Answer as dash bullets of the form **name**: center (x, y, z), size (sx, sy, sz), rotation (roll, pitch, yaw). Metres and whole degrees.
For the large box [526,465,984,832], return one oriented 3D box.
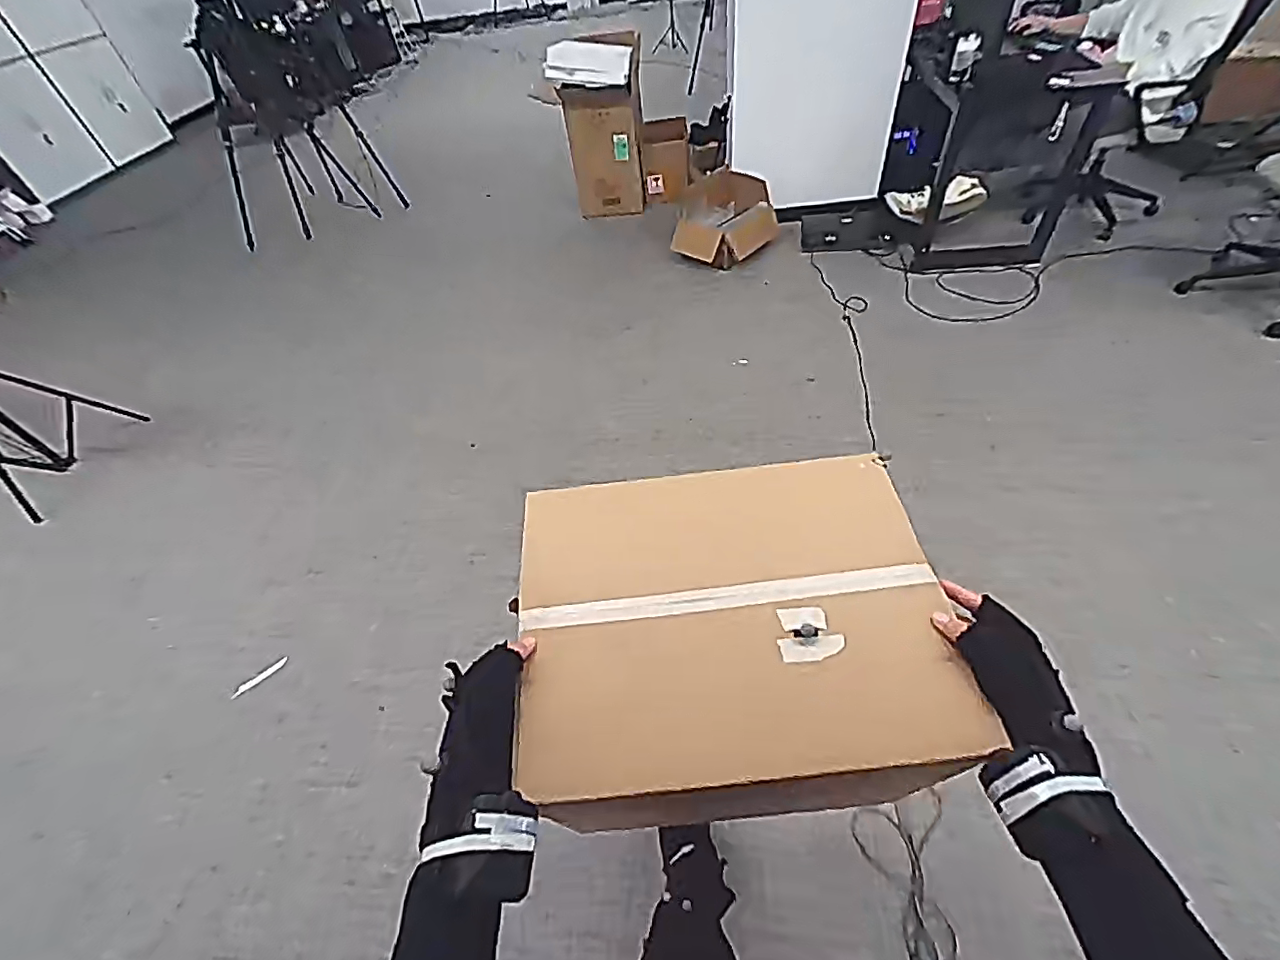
- **large box**: center (0.094, 0.216, 0.665), size (0.408, 0.320, 0.320), rotation (-7, 53, 0)
